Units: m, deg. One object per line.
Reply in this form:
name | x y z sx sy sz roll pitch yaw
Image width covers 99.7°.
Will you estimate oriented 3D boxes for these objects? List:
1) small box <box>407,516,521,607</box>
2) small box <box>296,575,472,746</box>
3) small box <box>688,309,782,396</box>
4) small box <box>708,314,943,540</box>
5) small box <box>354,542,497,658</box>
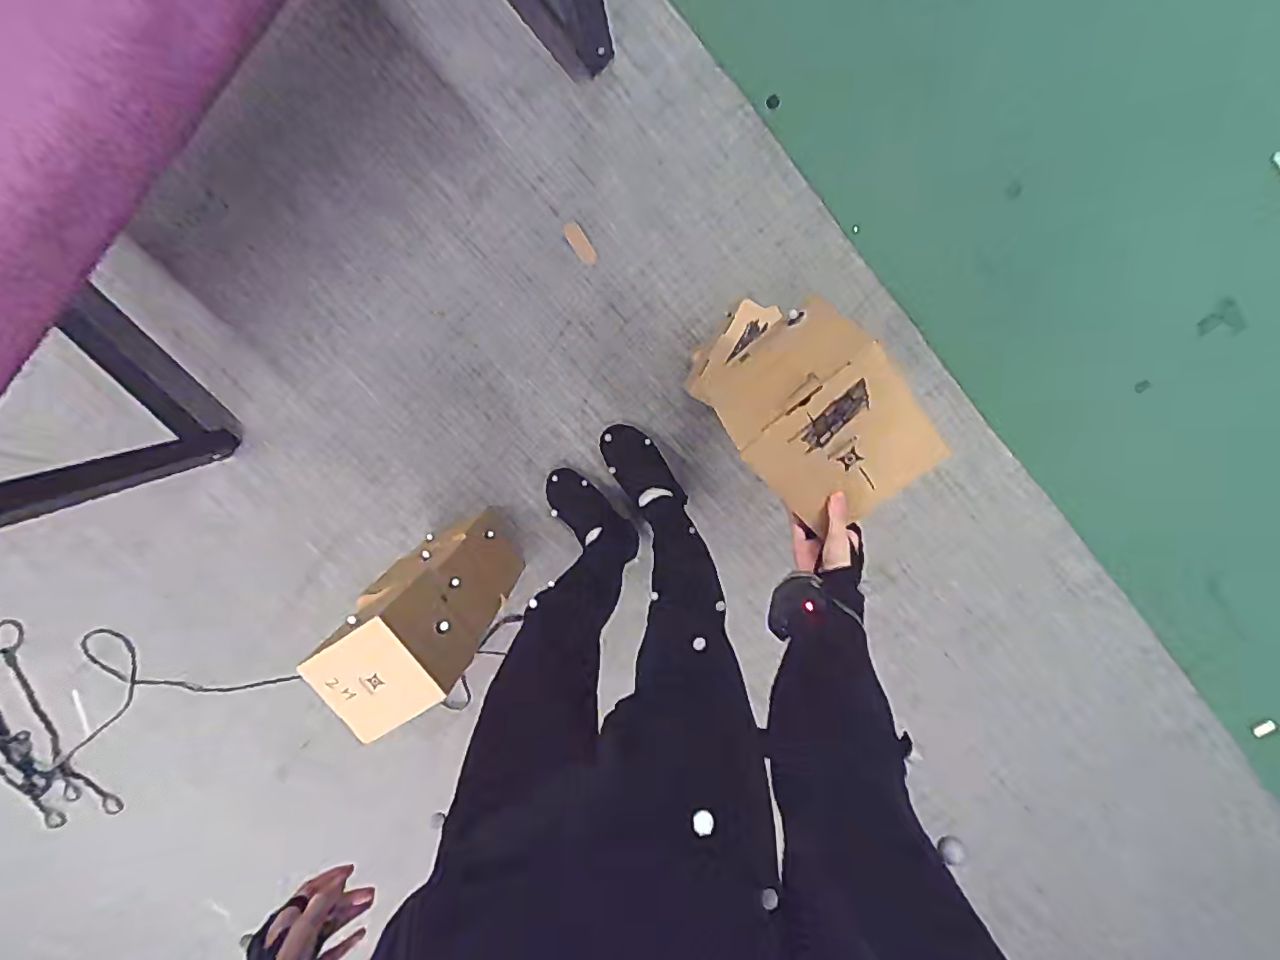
small box | -0.391 0.196 1.204 0.168 0.176 0.179 -24 104 9
small box | -0.402 0.286 0.891 0.179 0.176 0.168 -31 101 11
small box | 0.208 -0.216 1.065 0.179 0.176 0.168 -30 103 10
small box | 0.202 -0.070 0.631 0.168 0.176 0.179 -39 120 17
small box | -0.403 0.246 1.051 0.168 0.176 0.179 -19 104 8
